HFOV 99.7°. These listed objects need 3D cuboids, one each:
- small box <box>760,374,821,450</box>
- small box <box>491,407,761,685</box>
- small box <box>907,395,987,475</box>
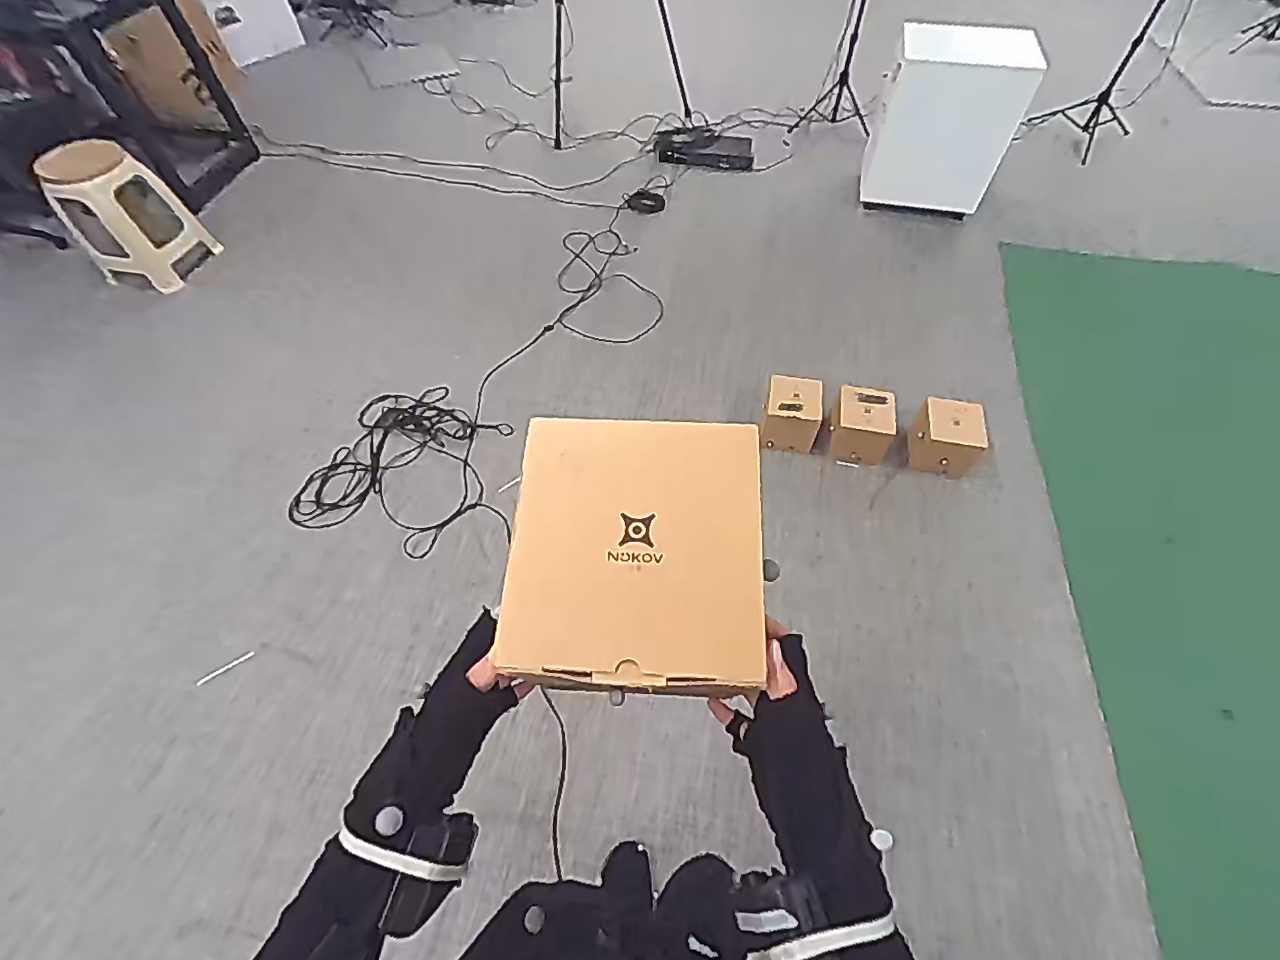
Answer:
[{"bbox_3d":[0.490,-0.219,1.769,0.168,0.176,0.179,9,56,8],"label":"small box"},{"bbox_3d":[-0.003,0.061,0.428,0.168,0.176,0.179,1,67,3],"label":"small box"},{"bbox_3d":[0.960,-0.138,1.706,0.168,0.176,0.179,10,57,7],"label":"small box"}]
